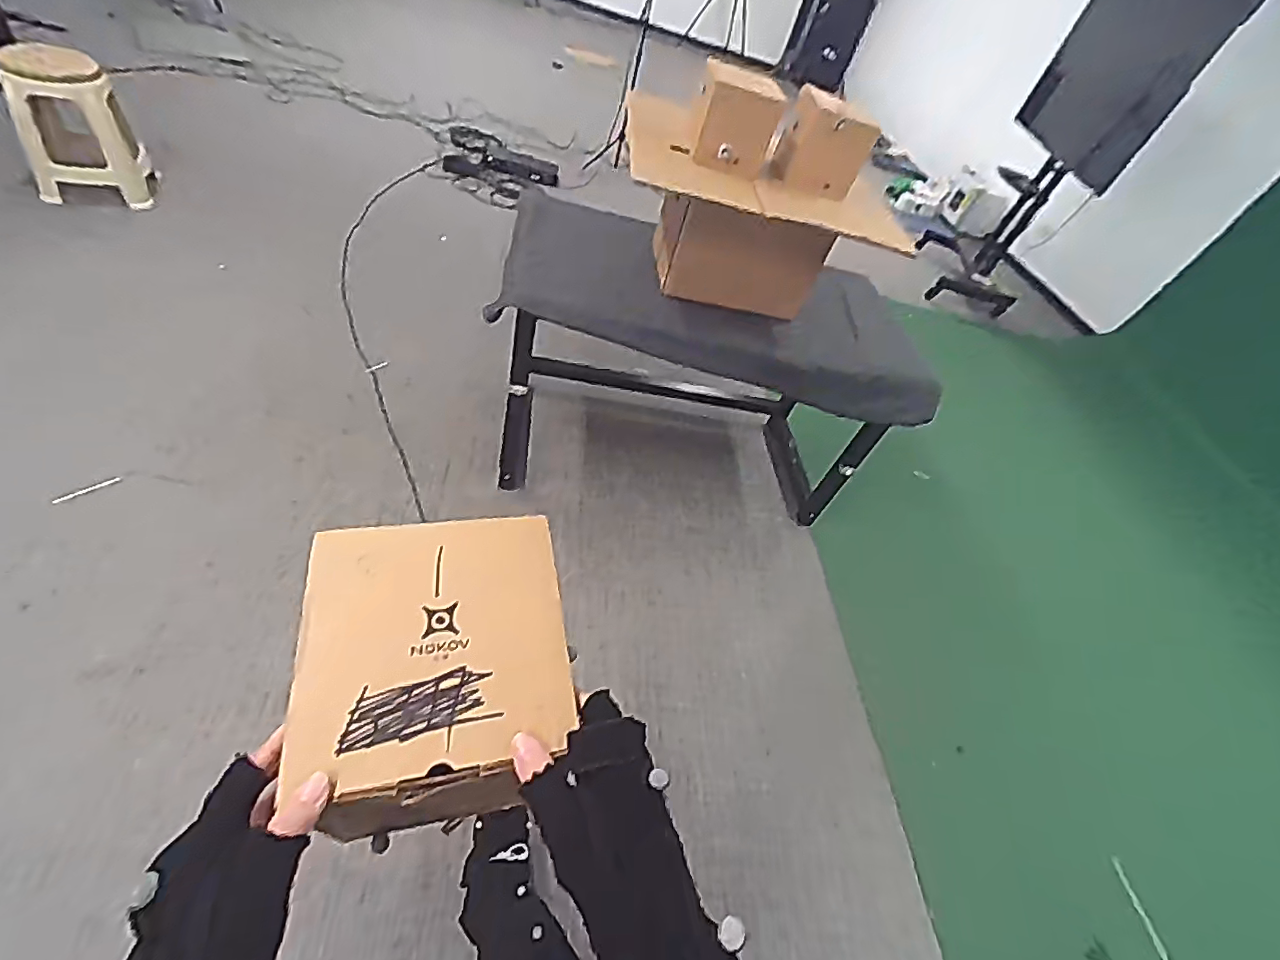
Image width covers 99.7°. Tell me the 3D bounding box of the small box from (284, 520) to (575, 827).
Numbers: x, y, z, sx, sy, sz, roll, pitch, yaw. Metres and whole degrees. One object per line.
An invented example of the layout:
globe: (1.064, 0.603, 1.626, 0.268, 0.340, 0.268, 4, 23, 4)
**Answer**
small box: (-0.149, 0.154, 0.425, 0.168, 0.176, 0.179, -3, 52, -17)

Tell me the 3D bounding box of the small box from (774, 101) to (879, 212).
small box: (0.452, -0.802, 1.346, 0.168, 0.176, 0.179, 10, 46, -13)

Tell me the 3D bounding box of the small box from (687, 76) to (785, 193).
small box: (0.218, -0.819, 1.287, 0.168, 0.176, 0.179, 8, 49, -12)
